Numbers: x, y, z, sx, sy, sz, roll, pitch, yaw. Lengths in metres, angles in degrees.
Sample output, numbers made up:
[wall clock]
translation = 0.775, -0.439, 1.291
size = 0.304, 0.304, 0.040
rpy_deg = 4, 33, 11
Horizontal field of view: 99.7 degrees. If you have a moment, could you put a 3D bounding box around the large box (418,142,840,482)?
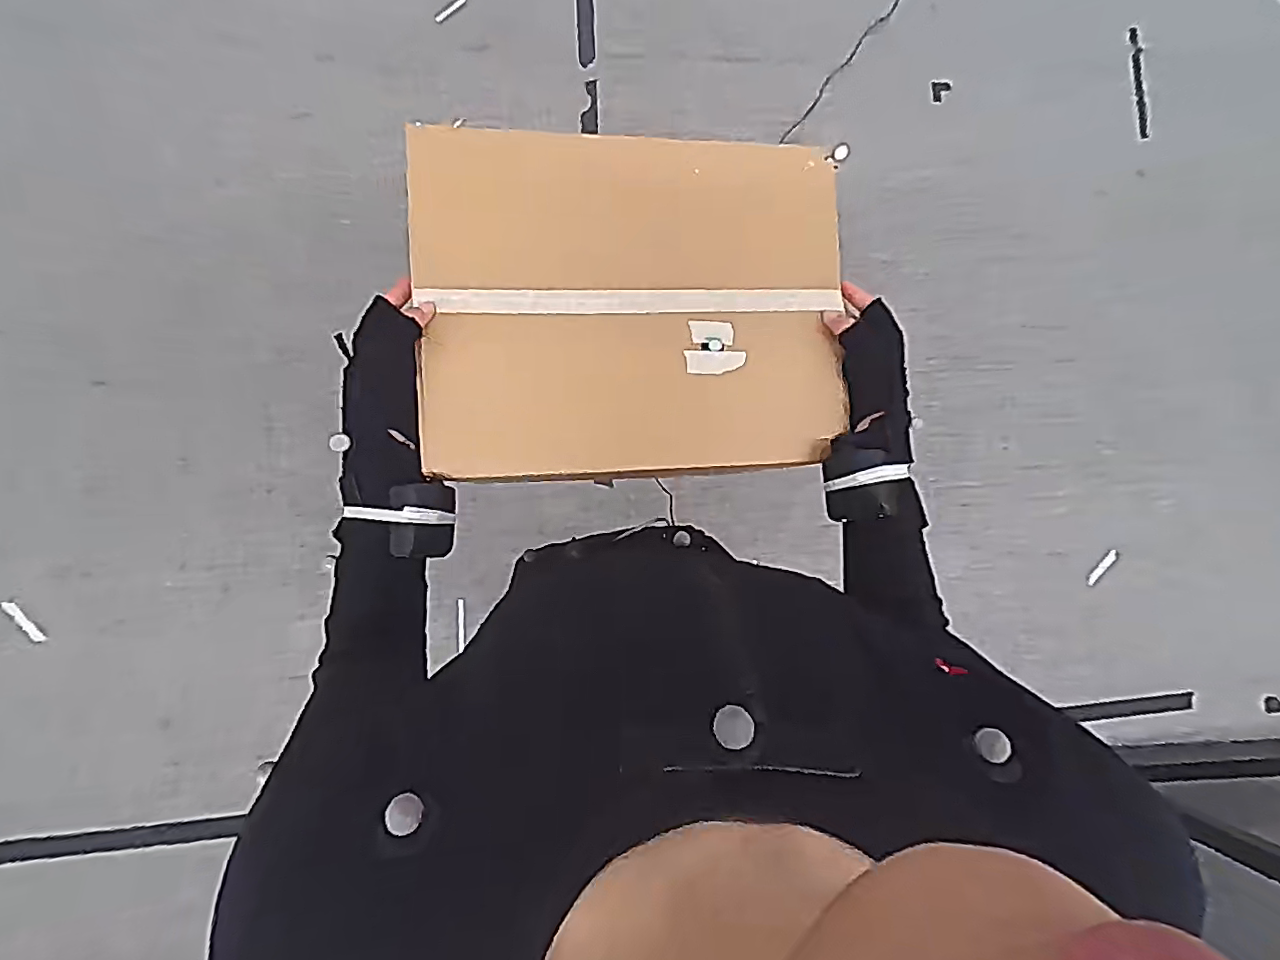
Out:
[large box]
translation = -0.024, -0.165, 0.669
size = 0.408, 0.320, 0.320
rpy_deg = -3, 90, -10
